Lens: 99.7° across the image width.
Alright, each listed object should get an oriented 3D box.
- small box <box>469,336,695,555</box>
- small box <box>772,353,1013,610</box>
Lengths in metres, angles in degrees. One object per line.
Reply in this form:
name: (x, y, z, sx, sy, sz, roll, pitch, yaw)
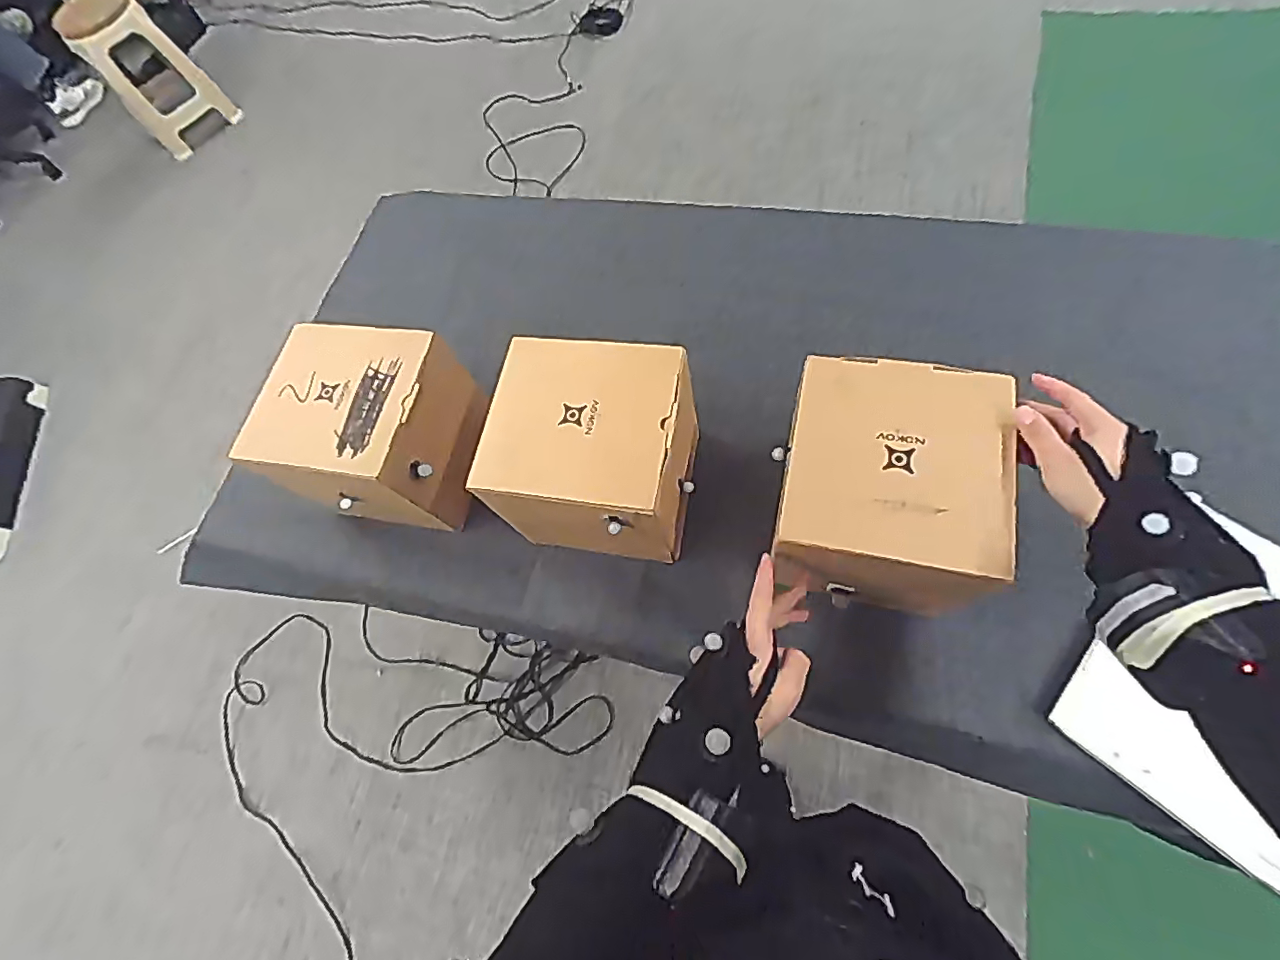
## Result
small box: (-0.043, -0.029, 0.565, 0.179, 0.176, 0.168, 7, 68, 12)
small box: (0.219, 0.009, 0.504, 0.168, 0.176, 0.179, 9, 70, 15)
